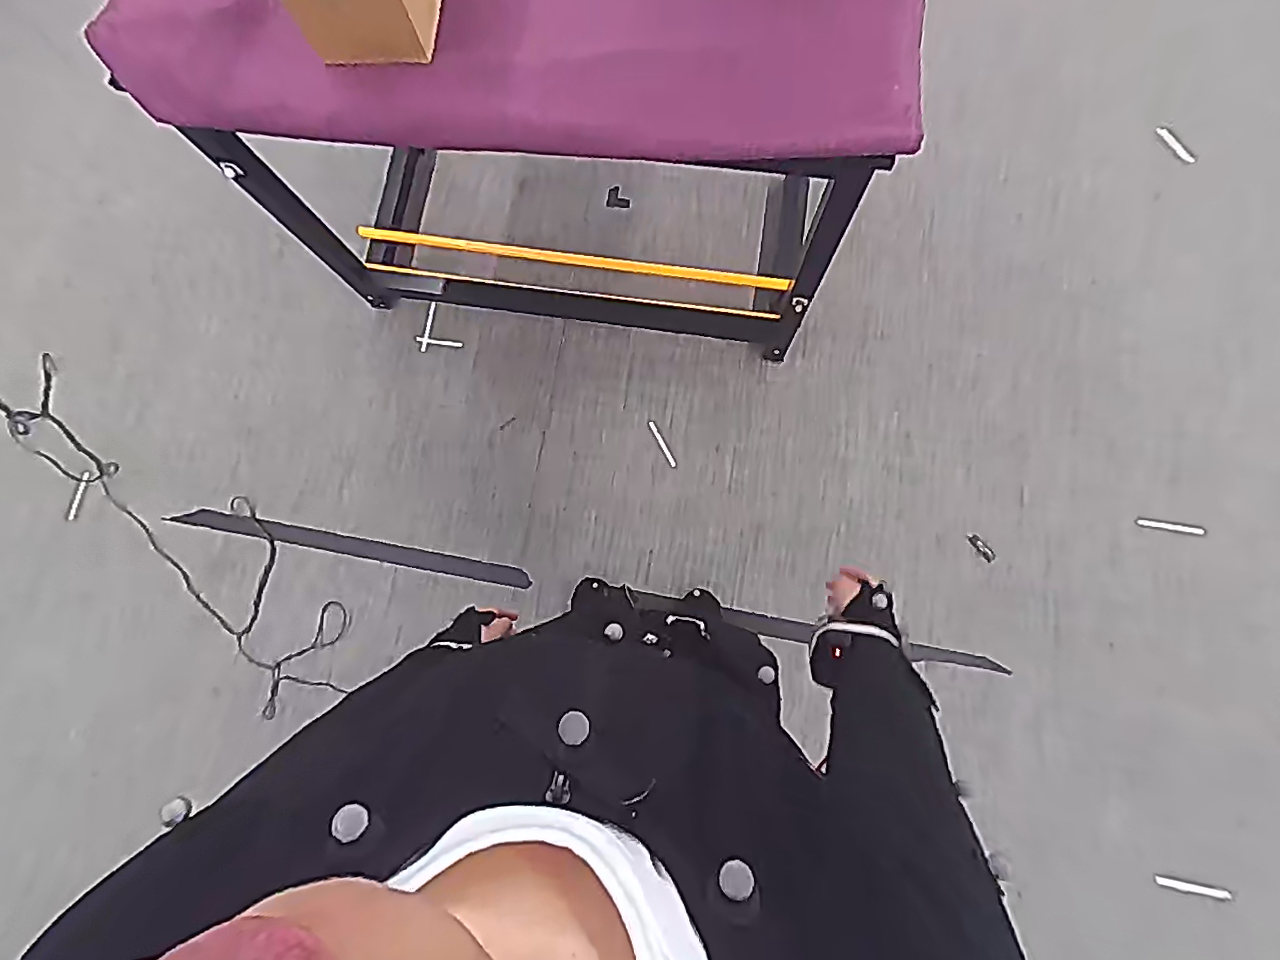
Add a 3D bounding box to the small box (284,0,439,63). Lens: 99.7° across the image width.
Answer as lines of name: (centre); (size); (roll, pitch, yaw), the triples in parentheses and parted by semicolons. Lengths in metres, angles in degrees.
small box: (-0.398, -0.728, 0.758); (0.179, 0.176, 0.168); (3, 79, 4)
